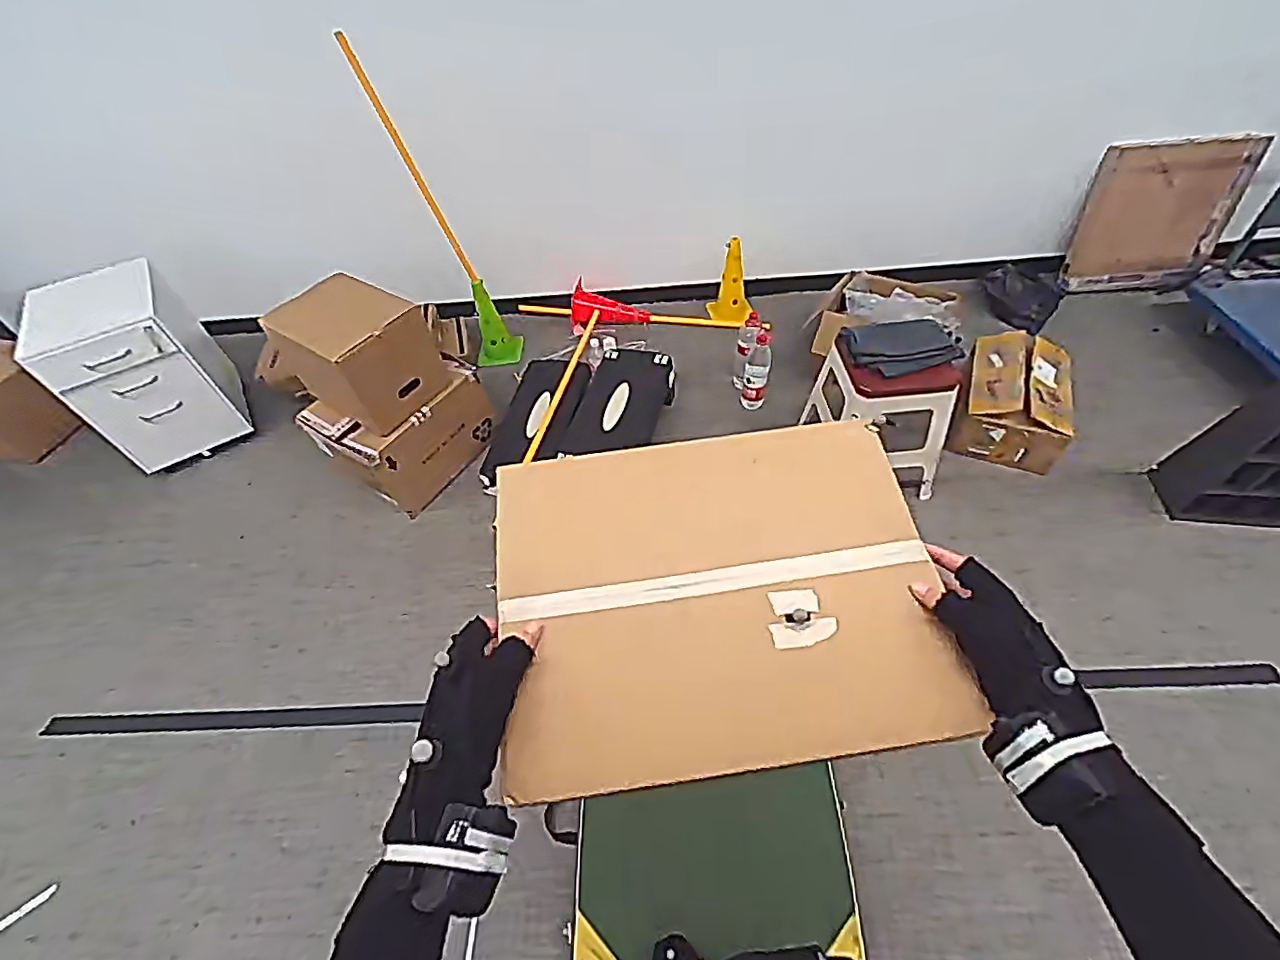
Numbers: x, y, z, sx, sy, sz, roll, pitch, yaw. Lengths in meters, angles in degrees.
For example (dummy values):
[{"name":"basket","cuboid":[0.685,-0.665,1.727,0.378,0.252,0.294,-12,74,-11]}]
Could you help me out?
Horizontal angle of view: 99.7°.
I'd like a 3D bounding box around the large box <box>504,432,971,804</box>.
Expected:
[{"name":"large box","cuboid":[0.072,0.178,0.655,0.408,0.320,0.320,-8,62,-3]}]
